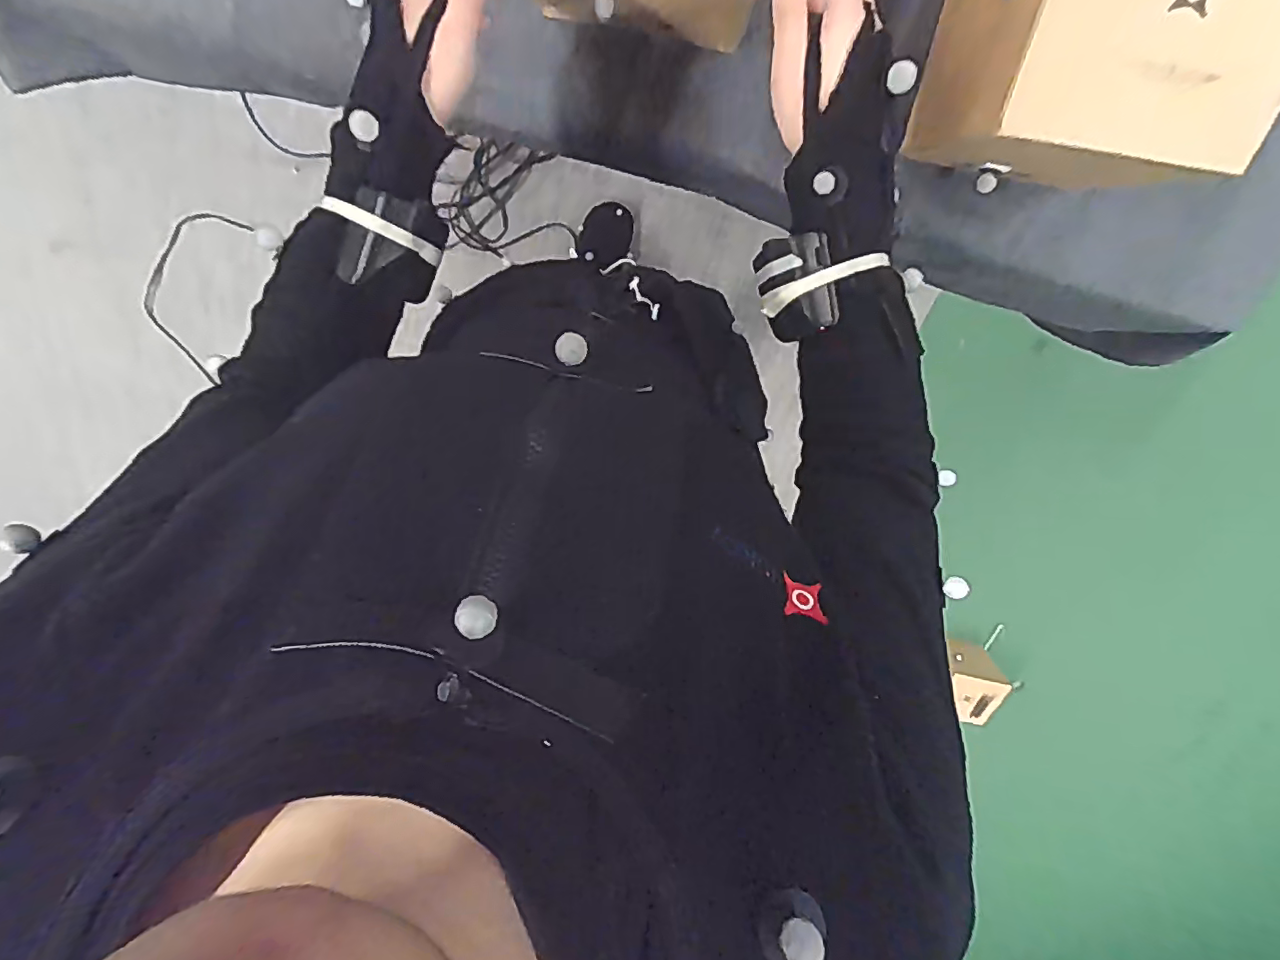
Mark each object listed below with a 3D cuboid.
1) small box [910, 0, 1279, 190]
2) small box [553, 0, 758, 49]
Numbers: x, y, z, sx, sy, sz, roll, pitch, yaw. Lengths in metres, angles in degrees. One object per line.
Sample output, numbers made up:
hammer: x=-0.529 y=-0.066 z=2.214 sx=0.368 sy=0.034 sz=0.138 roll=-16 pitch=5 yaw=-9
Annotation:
small box: x=0.325 y=-0.319 z=0.383 sx=0.168 sy=0.176 sz=0.179 roll=8 pitch=116 yaw=-2
small box: x=0.015 y=-0.412 z=0.345 sx=0.168 sy=0.176 sz=0.179 roll=9 pitch=115 yaw=-3
